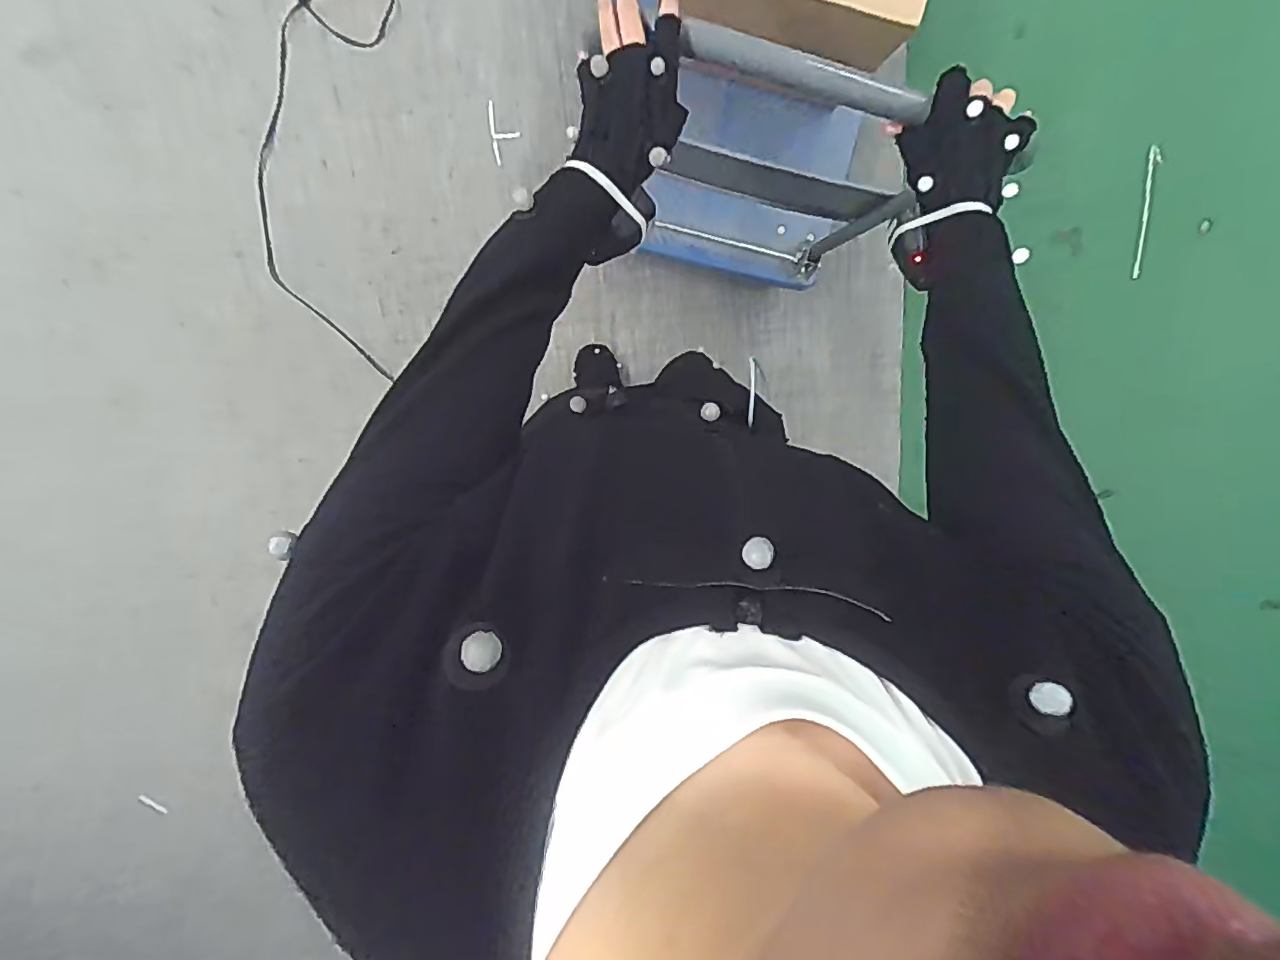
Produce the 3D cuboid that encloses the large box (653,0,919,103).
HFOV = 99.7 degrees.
[{"bbox_3d":[0.258,-0.928,0.944,0.408,0.320,0.320,10,103,-6],"label":"large box"}]
